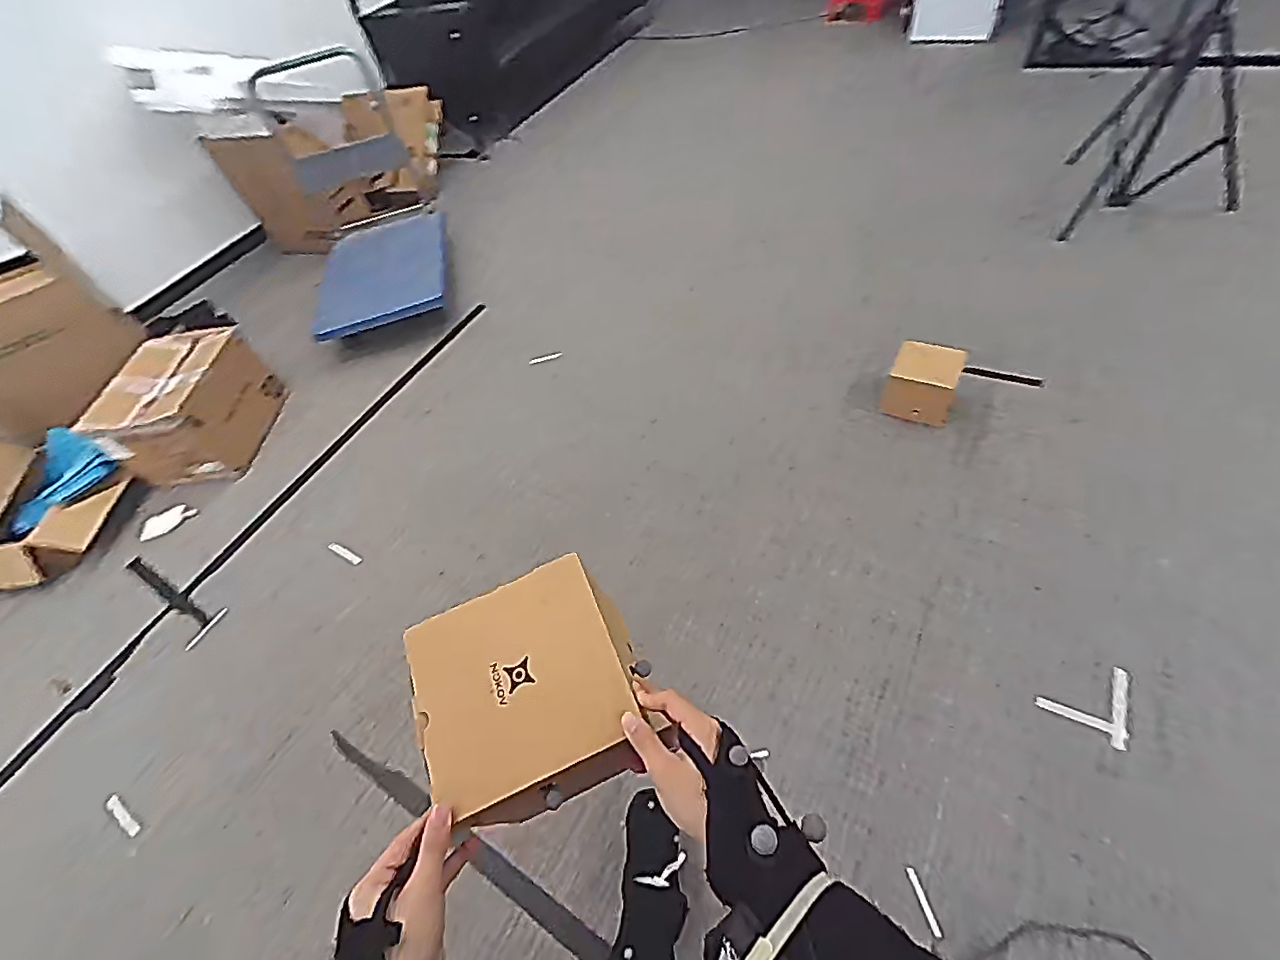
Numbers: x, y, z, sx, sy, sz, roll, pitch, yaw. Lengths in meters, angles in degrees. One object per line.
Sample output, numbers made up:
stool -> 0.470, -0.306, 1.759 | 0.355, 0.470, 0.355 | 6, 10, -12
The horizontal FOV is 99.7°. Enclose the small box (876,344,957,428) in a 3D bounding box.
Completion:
small box -> 0.847, -0.291, 1.653 | 0.179, 0.176, 0.168 | 20, 60, 24

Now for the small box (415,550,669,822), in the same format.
small box -> -0.081, 0.198, 0.517 | 0.179, 0.176, 0.168 | -25, 58, -2
